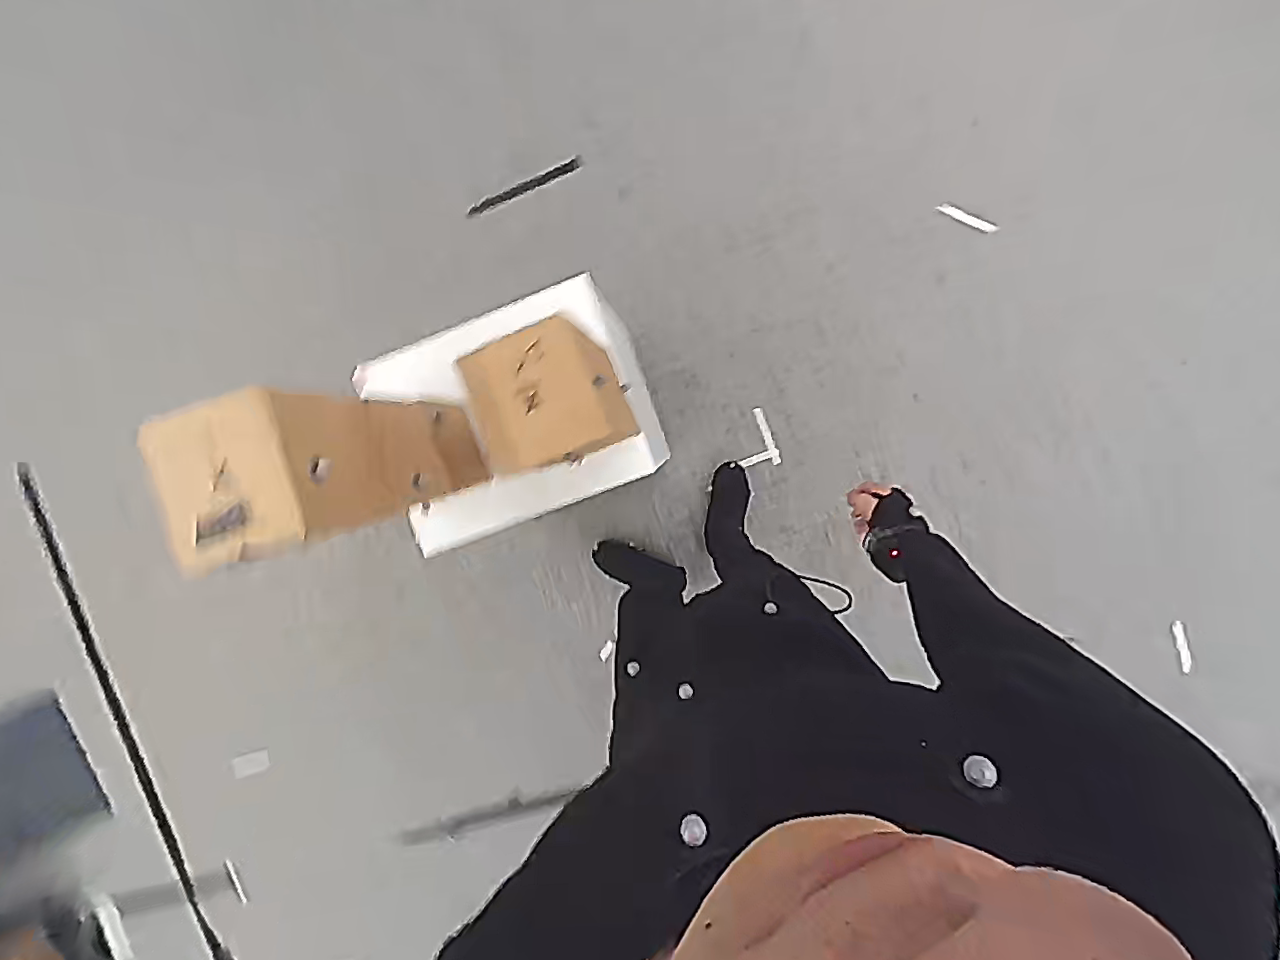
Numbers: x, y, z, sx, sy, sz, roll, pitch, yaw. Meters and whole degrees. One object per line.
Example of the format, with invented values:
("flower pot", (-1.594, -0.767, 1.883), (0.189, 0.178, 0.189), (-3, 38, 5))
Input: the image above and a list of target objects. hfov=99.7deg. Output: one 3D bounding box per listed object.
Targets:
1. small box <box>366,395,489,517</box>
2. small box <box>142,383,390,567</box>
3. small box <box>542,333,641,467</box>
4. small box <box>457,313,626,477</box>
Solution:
("small box", (-0.403, -0.047, 0.999), (0.168, 0.176, 0.179), (-18, 92, 7))
("small box", (-0.446, -0.010, 0.674), (0.168, 0.176, 0.179), (-15, 92, 8))
("small box", (-0.110, -0.134, 0.955), (0.168, 0.176, 0.179), (-21, 92, 9))
("small box", (-0.130, -0.119, 0.791), (0.168, 0.176, 0.179), (-20, 92, 8))
